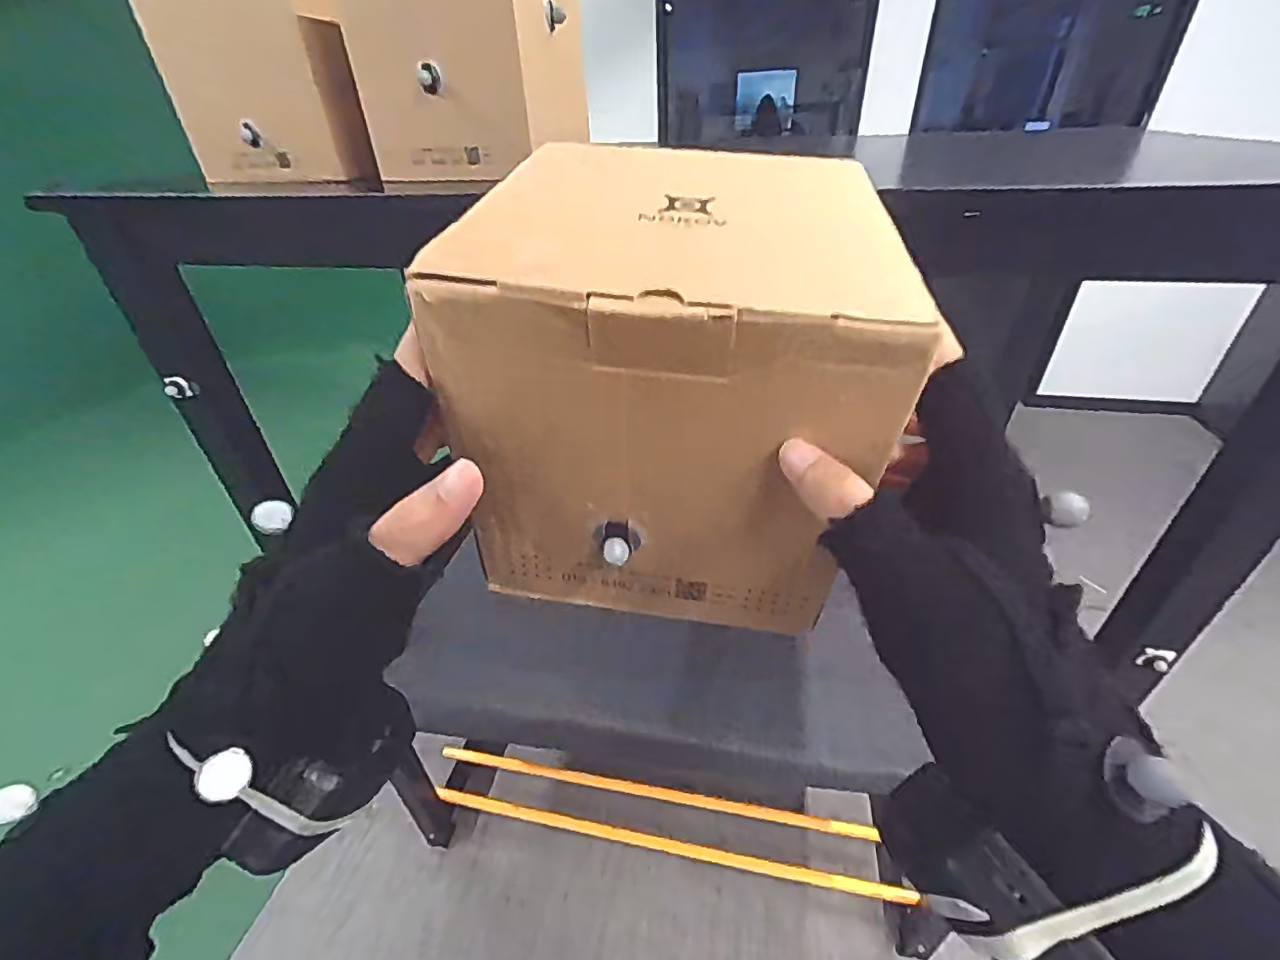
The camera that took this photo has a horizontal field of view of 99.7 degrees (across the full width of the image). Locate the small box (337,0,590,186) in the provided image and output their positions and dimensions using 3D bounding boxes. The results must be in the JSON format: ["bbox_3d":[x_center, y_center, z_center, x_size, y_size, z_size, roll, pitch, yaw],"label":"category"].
[{"bbox_3d":[-0.152,-0.393,0.533,0.168,0.176,0.179,6,35,12],"label":"small box"}]
